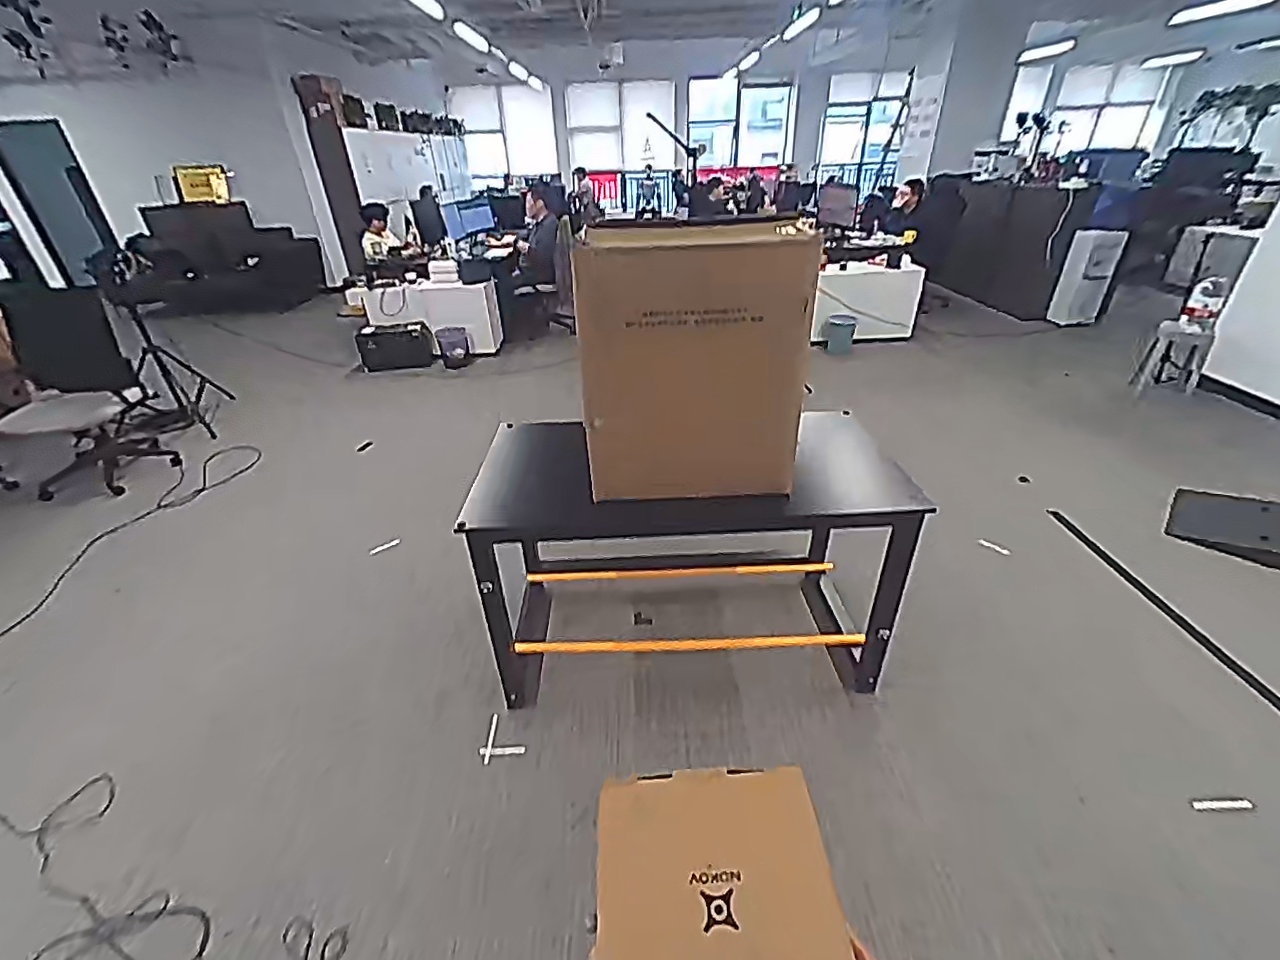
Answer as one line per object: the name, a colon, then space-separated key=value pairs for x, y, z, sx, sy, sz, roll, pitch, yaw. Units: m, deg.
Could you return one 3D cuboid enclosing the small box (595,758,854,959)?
small box: x=0.054 y=0.345 z=0.417 sx=0.168 sy=0.176 sz=0.179 roll=-4 pitch=37 yaw=0
